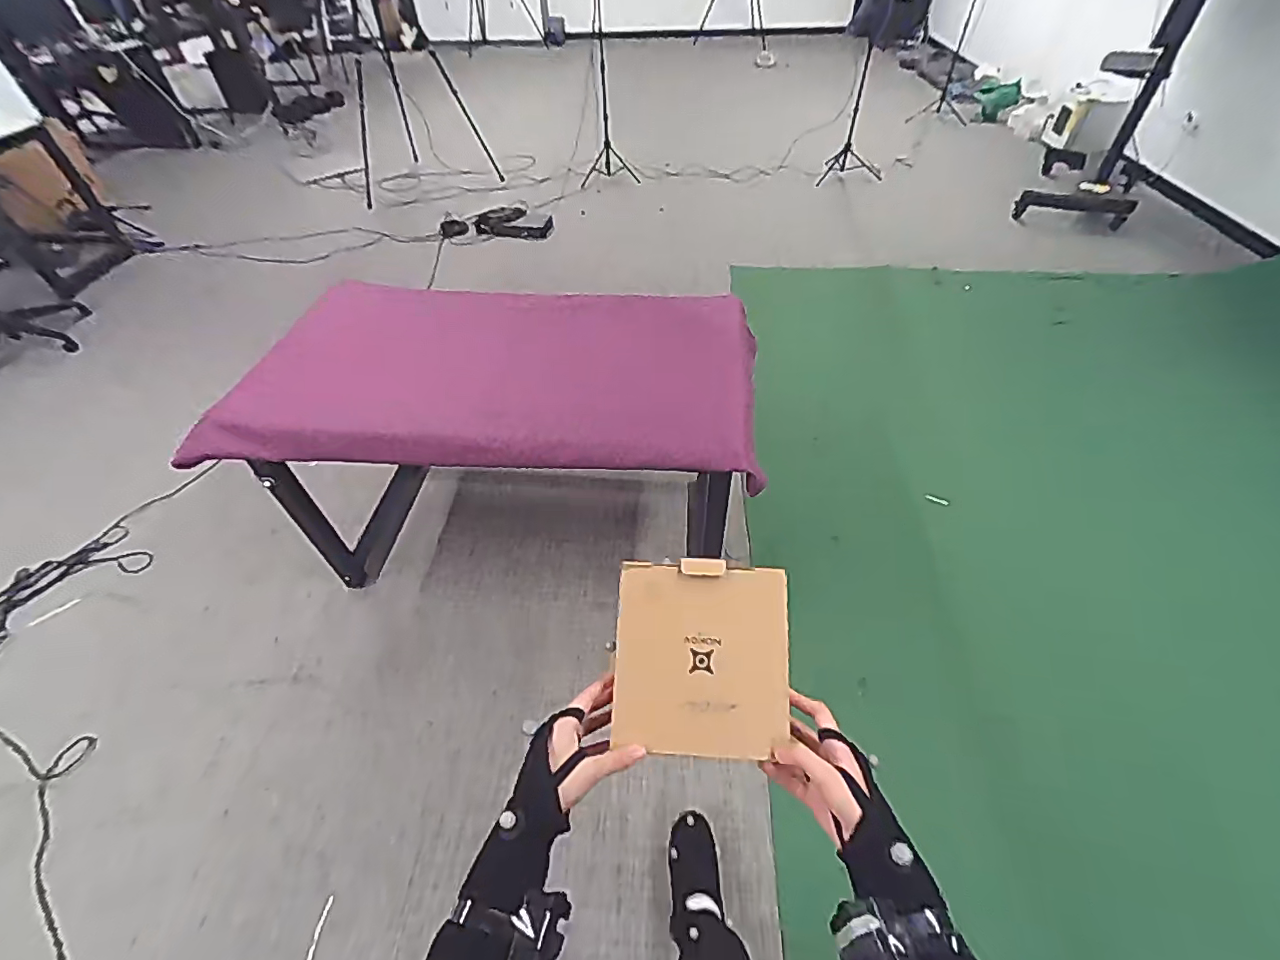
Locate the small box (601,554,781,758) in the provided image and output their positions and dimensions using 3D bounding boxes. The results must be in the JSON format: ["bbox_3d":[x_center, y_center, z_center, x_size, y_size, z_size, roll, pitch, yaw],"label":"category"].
[{"bbox_3d":[0.053,0.184,0.586,0.168,0.176,0.179,3,74,3],"label":"small box"}]
